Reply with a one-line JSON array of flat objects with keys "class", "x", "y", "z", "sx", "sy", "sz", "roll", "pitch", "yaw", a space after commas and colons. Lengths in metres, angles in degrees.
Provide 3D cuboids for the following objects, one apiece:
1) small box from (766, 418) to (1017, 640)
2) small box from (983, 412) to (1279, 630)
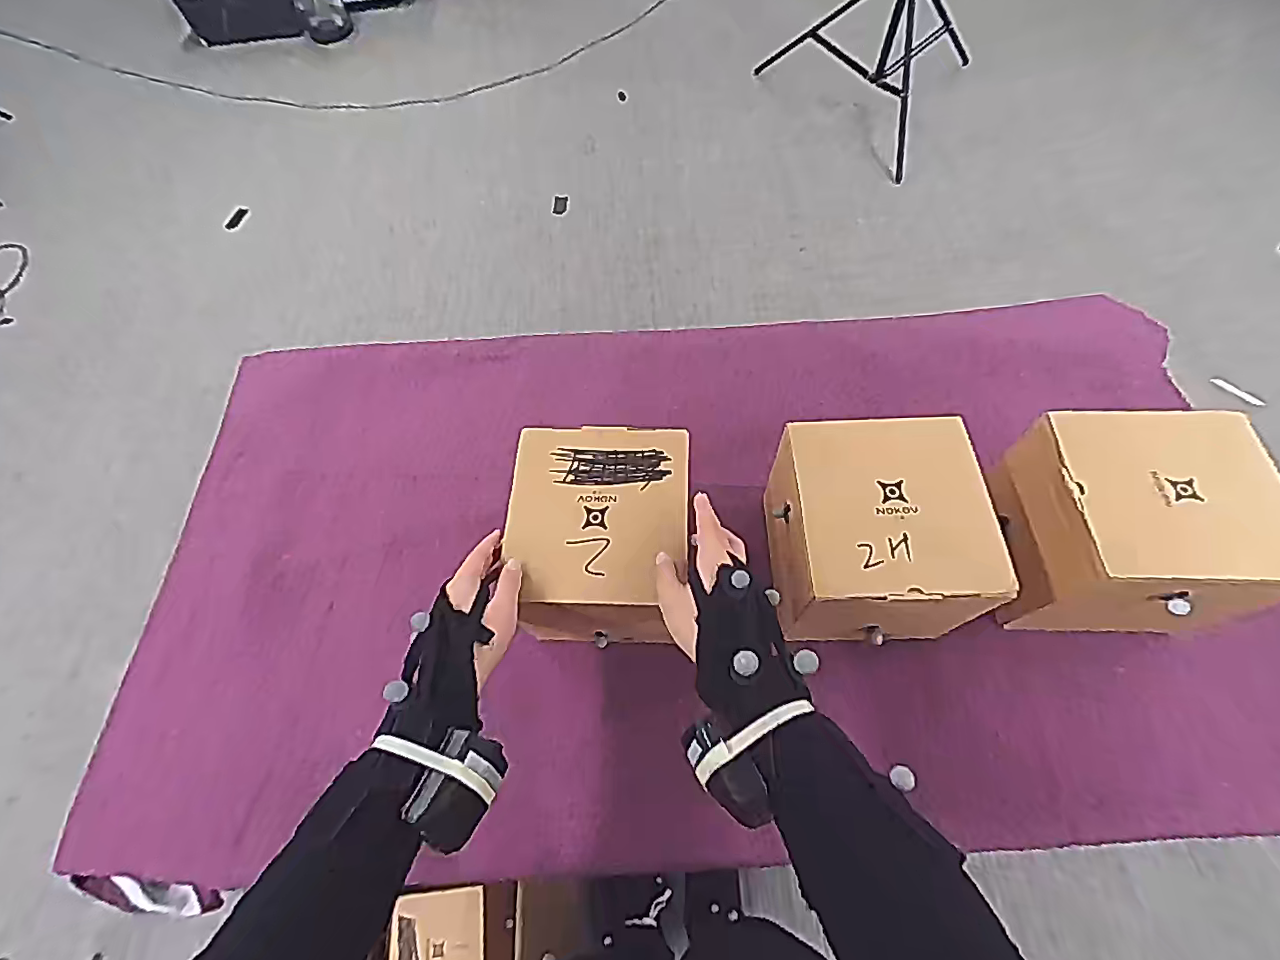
[{"class": "small box", "x": 0.229, "y": 0.056, "z": 0.550, "sx": 0.168, "sy": 0.176, "sz": 0.179, "roll": -2, "pitch": 62, "yaw": 3}, {"class": "small box", "x": 0.469, "y": 0.048, "z": 0.541, "sx": 0.179, "sy": 0.176, "sz": 0.168, "roll": 0, "pitch": 61, "yaw": 4}]
